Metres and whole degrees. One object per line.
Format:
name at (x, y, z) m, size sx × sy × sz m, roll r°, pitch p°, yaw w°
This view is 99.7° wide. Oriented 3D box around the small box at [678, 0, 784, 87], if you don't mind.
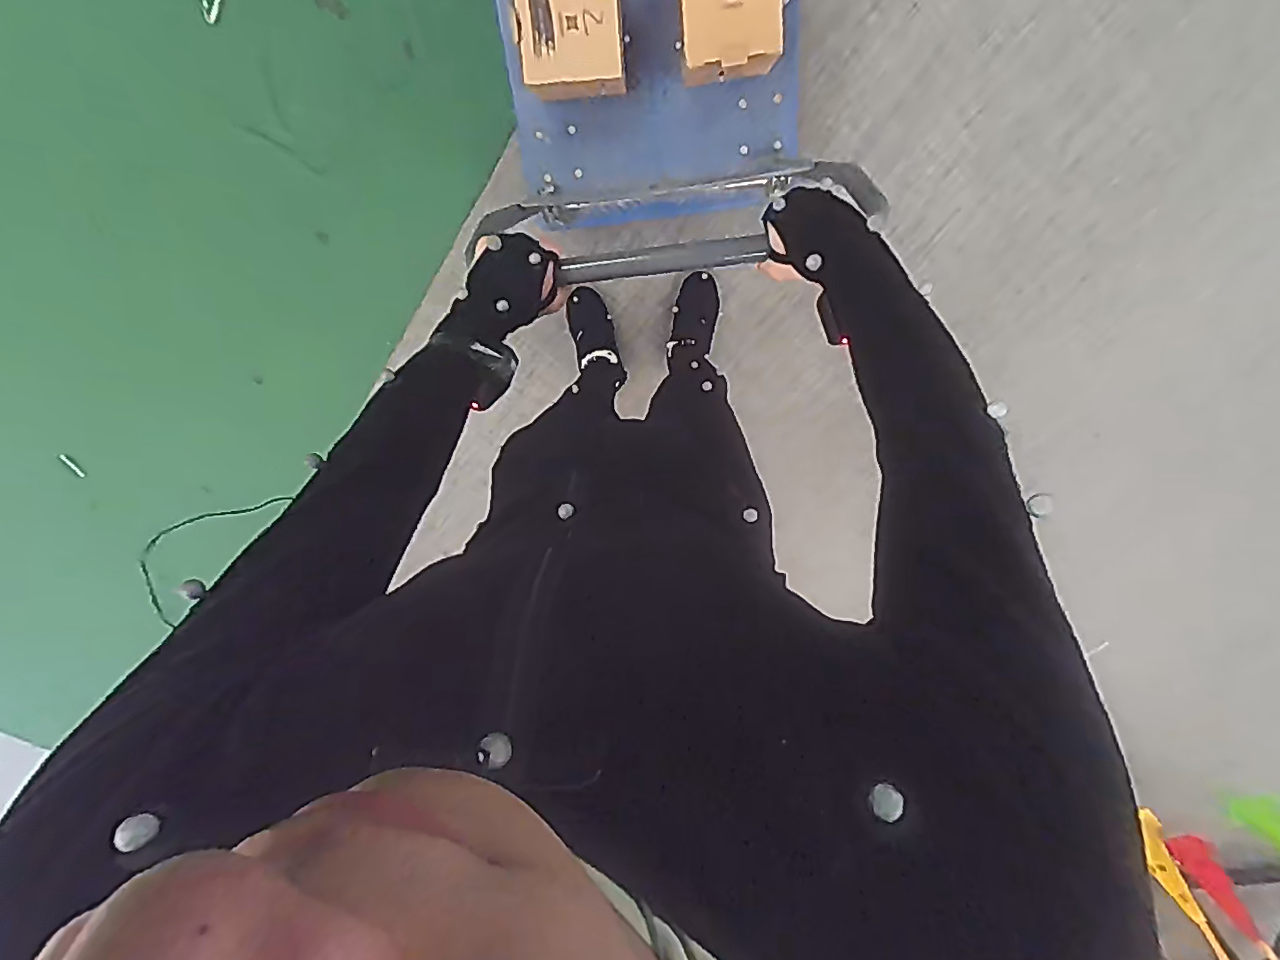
small box at (0.155, -0.826, 0.956) m, size 0.168 × 0.176 × 0.179 m, roll -6°, pitch 118°, yaw 5°
